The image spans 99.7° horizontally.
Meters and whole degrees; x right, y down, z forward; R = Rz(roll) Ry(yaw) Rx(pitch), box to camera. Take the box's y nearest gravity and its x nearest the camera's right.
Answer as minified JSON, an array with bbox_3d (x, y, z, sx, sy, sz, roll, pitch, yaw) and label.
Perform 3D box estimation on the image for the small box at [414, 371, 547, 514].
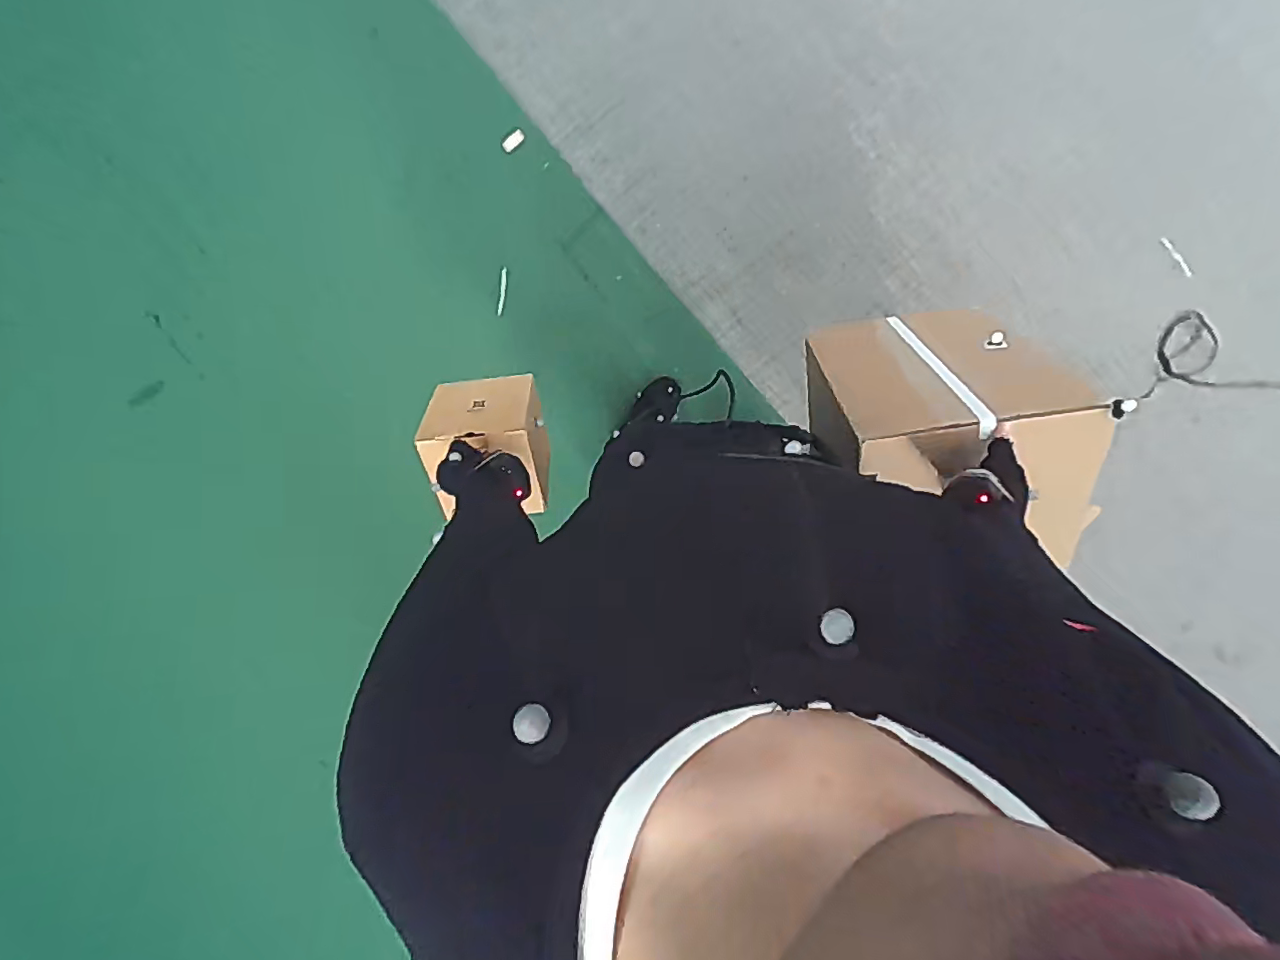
[{"bbox_3d":[-0.255,-0.065,0.915,0.168,0.179,0.176,-6,129,-1],"label":"small box"}]
